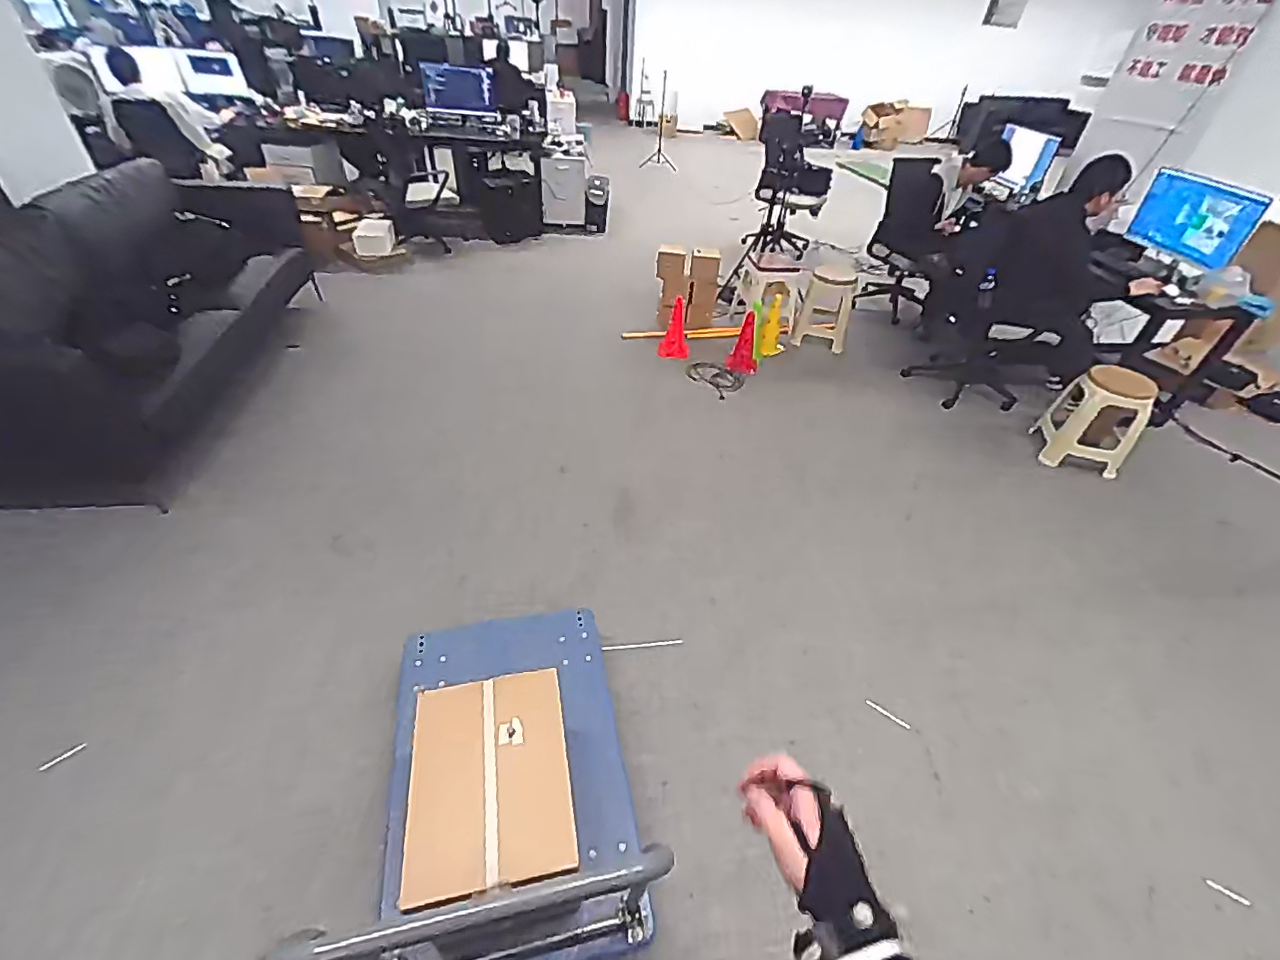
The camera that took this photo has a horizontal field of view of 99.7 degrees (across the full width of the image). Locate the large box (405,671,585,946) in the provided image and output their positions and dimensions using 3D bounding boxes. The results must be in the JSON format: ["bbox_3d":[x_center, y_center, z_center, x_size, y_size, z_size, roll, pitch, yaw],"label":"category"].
[{"bbox_3d":[-0.308,0.706,1.194,0.320,0.320,0.408,-6,41,-12],"label":"large box"}]
